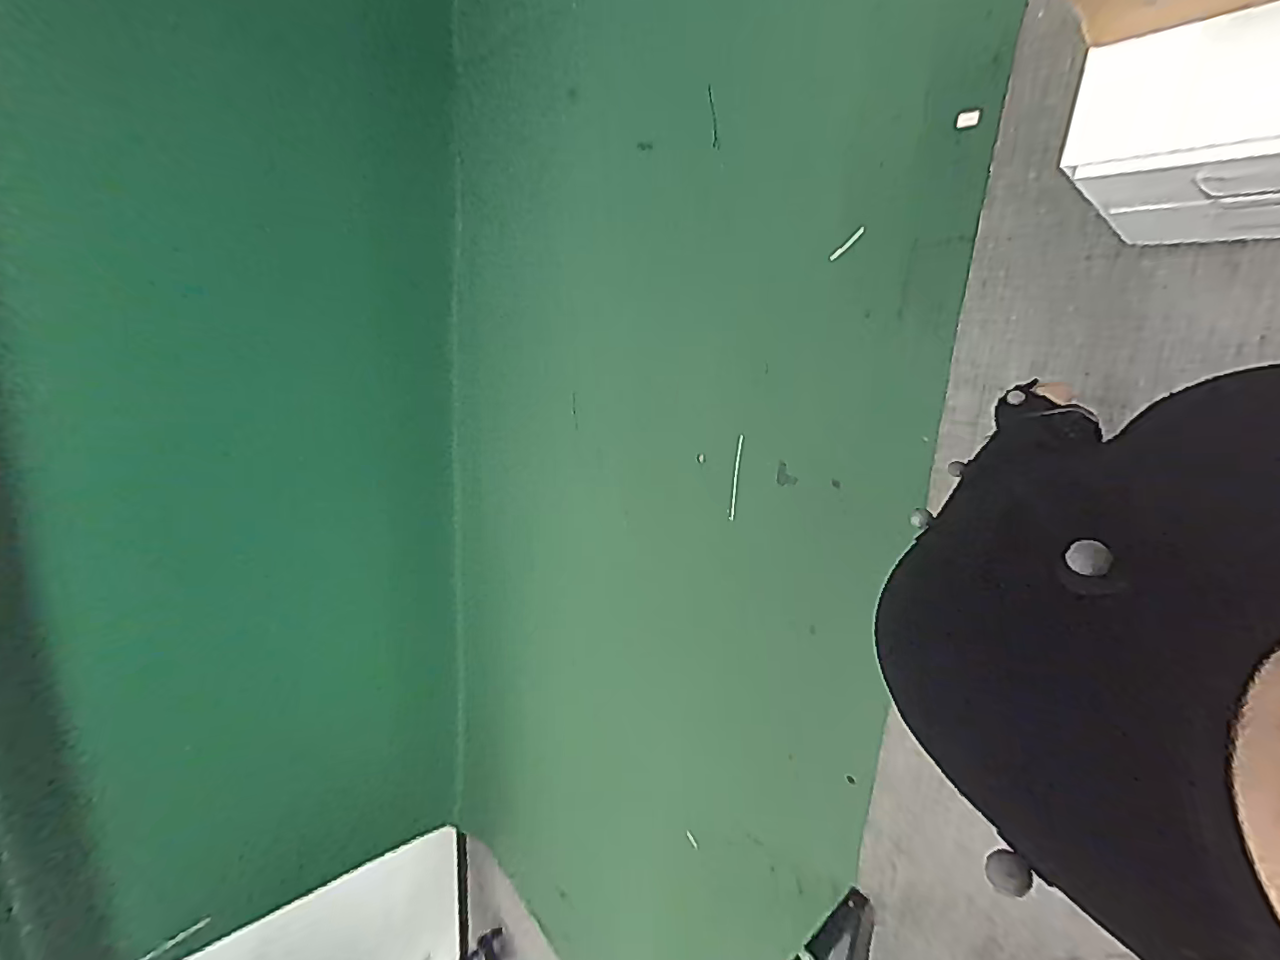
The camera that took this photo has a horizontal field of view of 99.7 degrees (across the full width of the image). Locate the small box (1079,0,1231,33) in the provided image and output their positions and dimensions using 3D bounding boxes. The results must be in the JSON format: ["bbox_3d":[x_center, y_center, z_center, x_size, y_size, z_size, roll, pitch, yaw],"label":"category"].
[{"bbox_3d":[0.575,-0.610,0.557,0.179,0.176,0.168,19,111,45],"label":"small box"}]
